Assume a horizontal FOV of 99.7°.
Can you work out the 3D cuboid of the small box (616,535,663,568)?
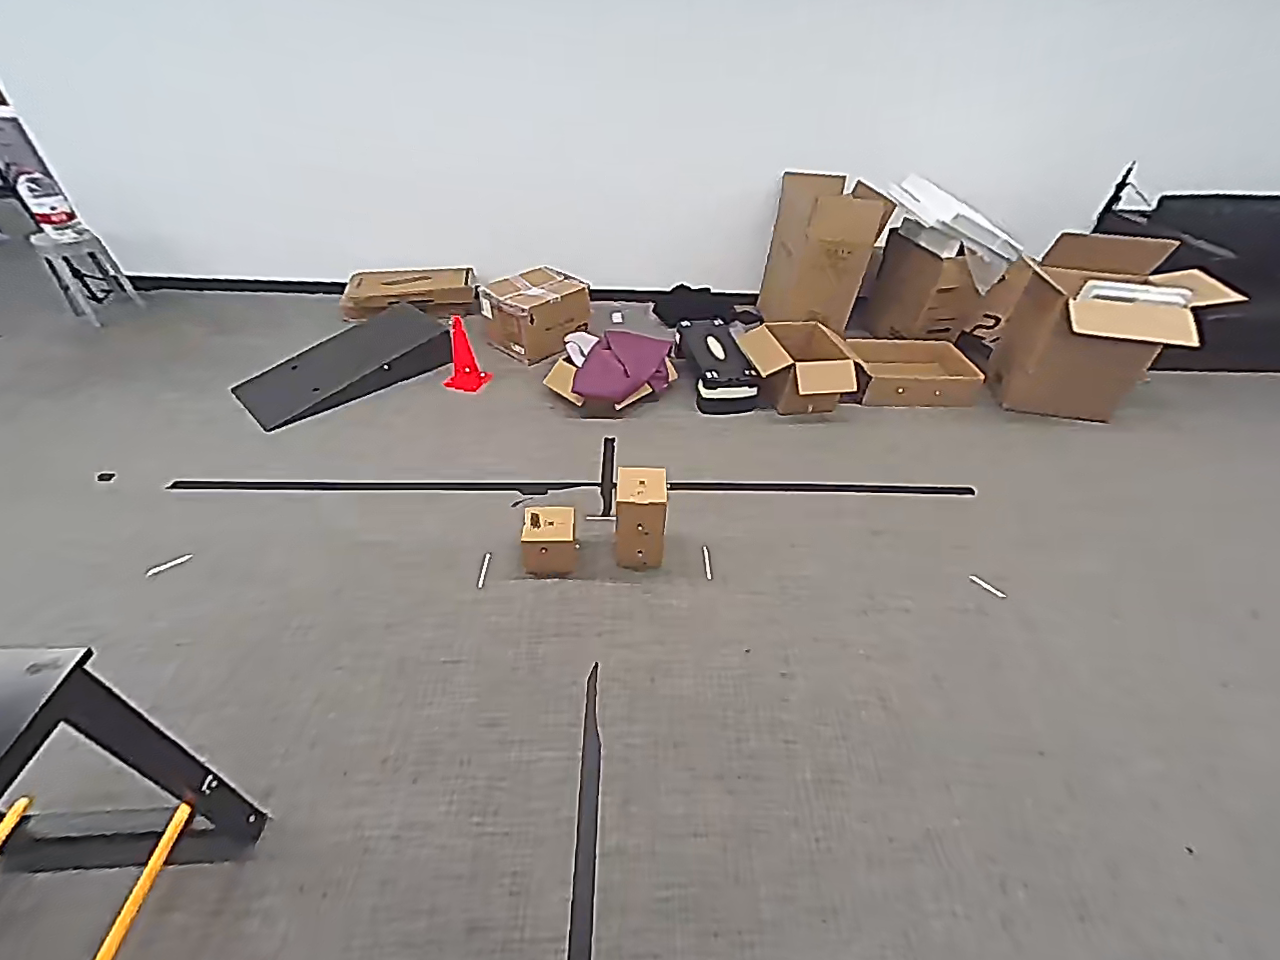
[{"bbox_3d":[-0.002,0.208,1.970,0.168,0.176,0.179,0,41,-2],"label":"small box"}]

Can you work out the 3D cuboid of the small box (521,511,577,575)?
[{"bbox_3d":[-0.320,0.227,1.927,0.179,0.176,0.168,0,41,-4],"label":"small box"}]

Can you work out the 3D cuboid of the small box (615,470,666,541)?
[{"bbox_3d":[0.000,0.087,1.856,0.168,0.176,0.179,1,41,-1],"label":"small box"}]
